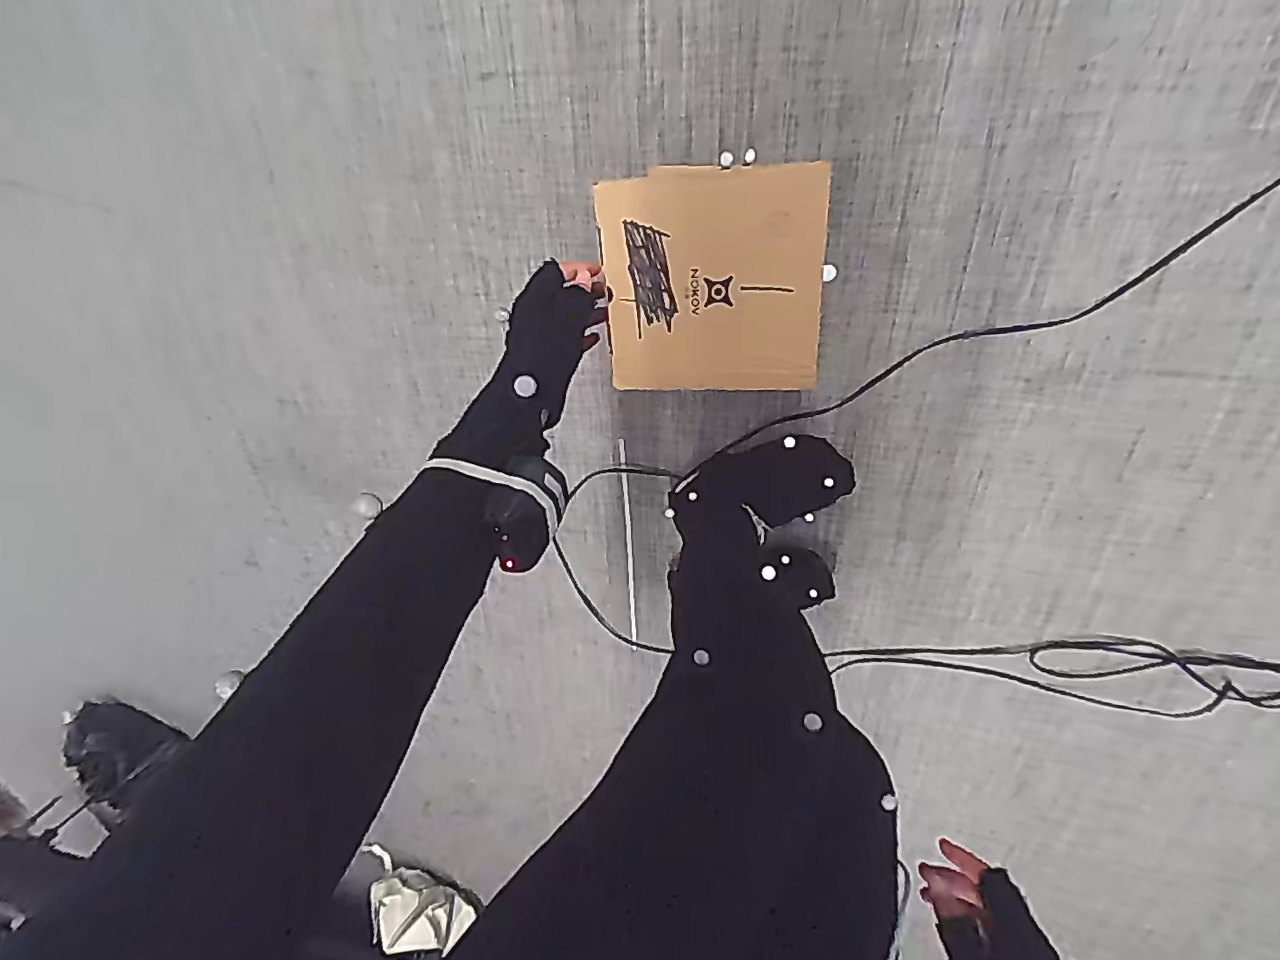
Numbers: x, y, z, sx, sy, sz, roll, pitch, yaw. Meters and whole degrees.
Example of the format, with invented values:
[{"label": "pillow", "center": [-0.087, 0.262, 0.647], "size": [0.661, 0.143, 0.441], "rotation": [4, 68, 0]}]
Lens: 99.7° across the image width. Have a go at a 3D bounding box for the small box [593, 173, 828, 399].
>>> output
[{"label": "small box", "center": [0.071, -0.182, 0.500], "size": [0.179, 0.176, 0.168], "rotation": [3, 119, 13]}]
